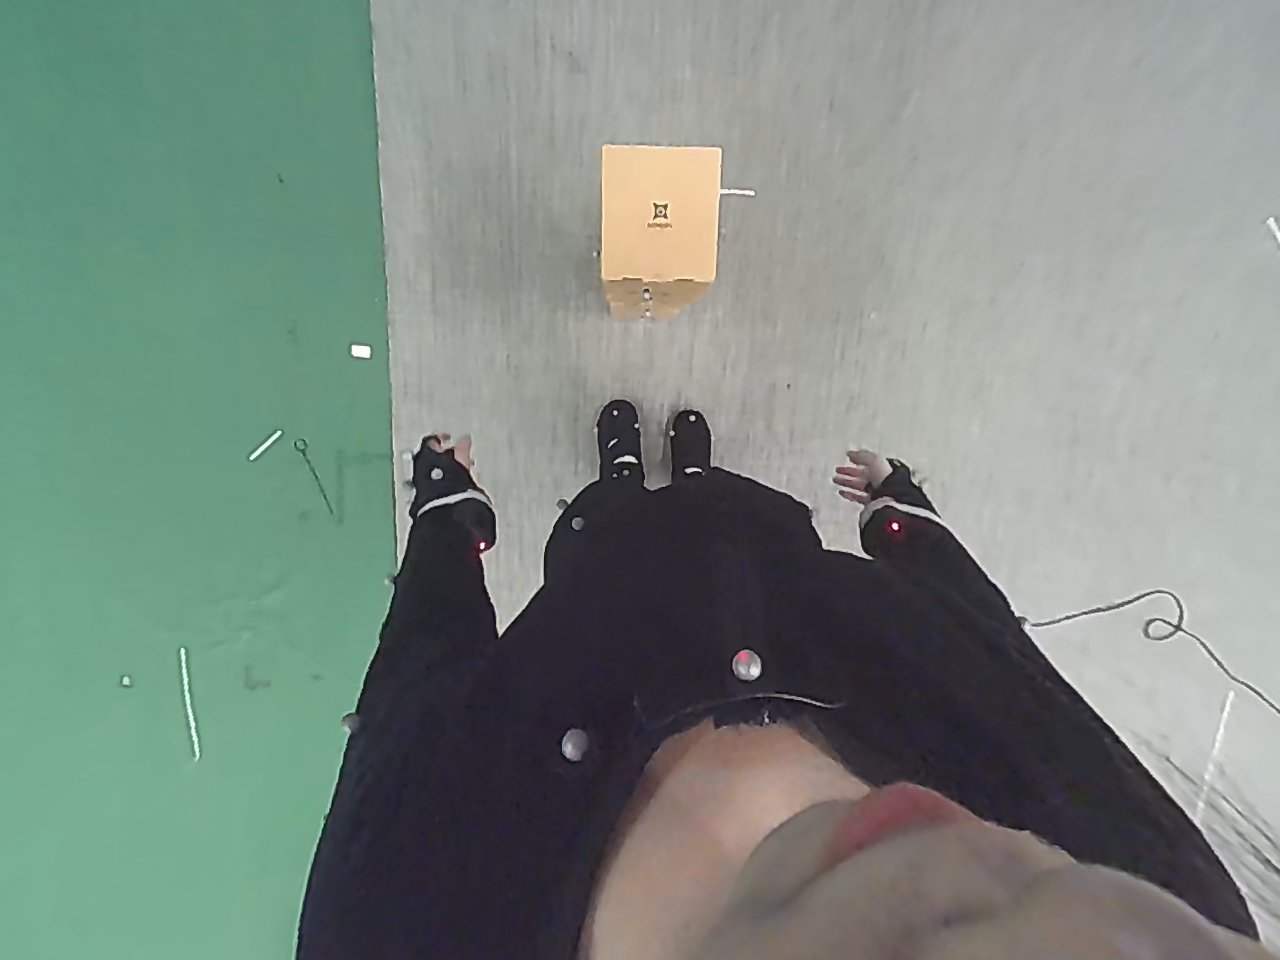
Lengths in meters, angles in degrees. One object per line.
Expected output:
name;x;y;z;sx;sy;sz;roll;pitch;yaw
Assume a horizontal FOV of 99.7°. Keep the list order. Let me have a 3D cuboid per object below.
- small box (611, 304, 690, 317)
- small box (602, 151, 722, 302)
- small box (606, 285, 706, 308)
small box;0.019;-0.451;1.158;0.168;0.176;0.179;-2;102;1
small box;0.027;-0.381;0.839;0.168;0.176;0.179;1;102;-1
small box;0.028;-0.413;0.998;0.179;0.176;0.168;0;102;0
